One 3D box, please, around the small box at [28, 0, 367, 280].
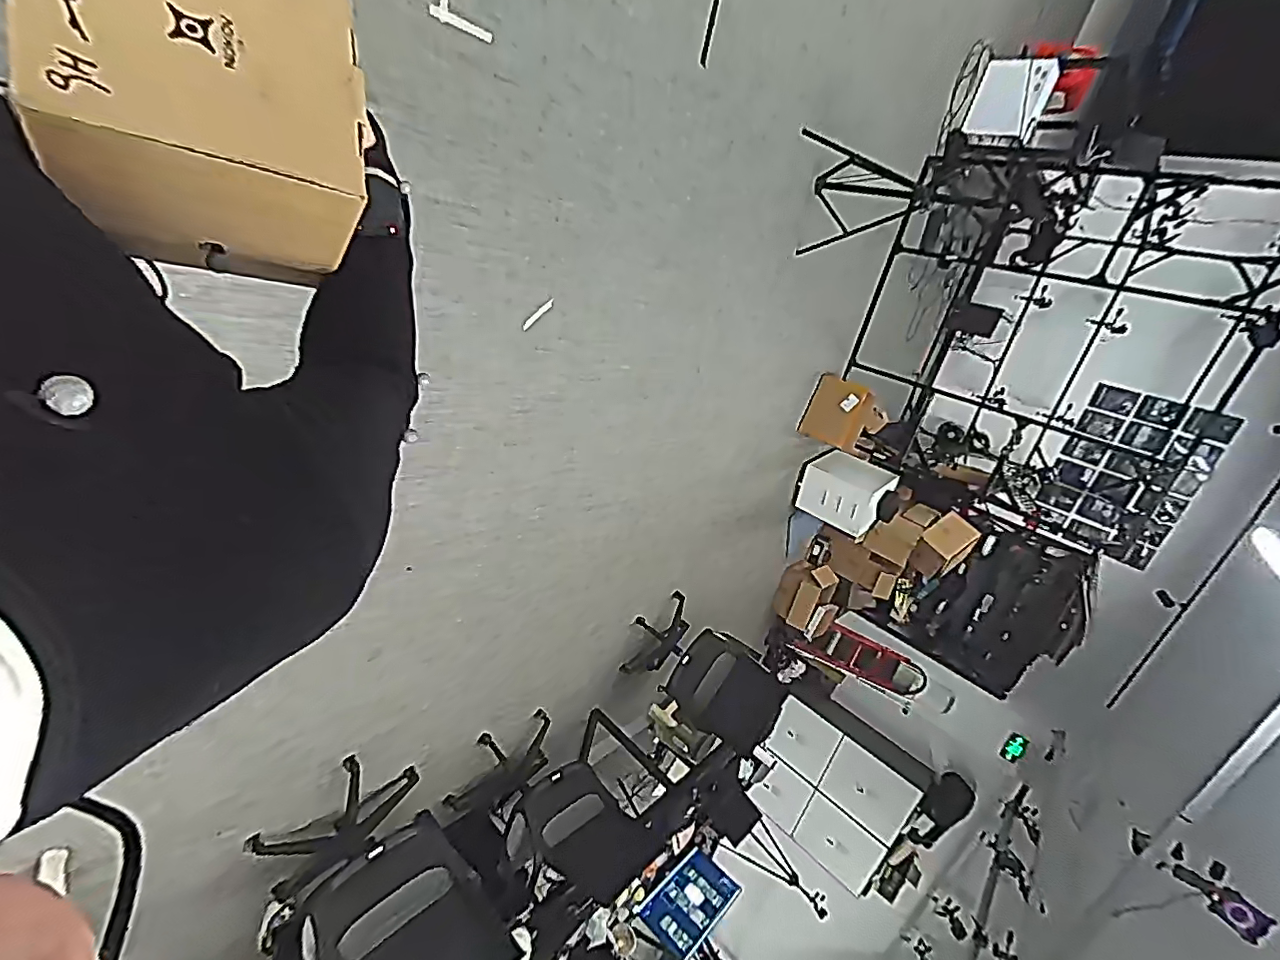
[{"bbox_3d":[-0.333,-0.278,0.424,0.179,0.176,0.168,-2,83,-40],"label":"small box"}]
